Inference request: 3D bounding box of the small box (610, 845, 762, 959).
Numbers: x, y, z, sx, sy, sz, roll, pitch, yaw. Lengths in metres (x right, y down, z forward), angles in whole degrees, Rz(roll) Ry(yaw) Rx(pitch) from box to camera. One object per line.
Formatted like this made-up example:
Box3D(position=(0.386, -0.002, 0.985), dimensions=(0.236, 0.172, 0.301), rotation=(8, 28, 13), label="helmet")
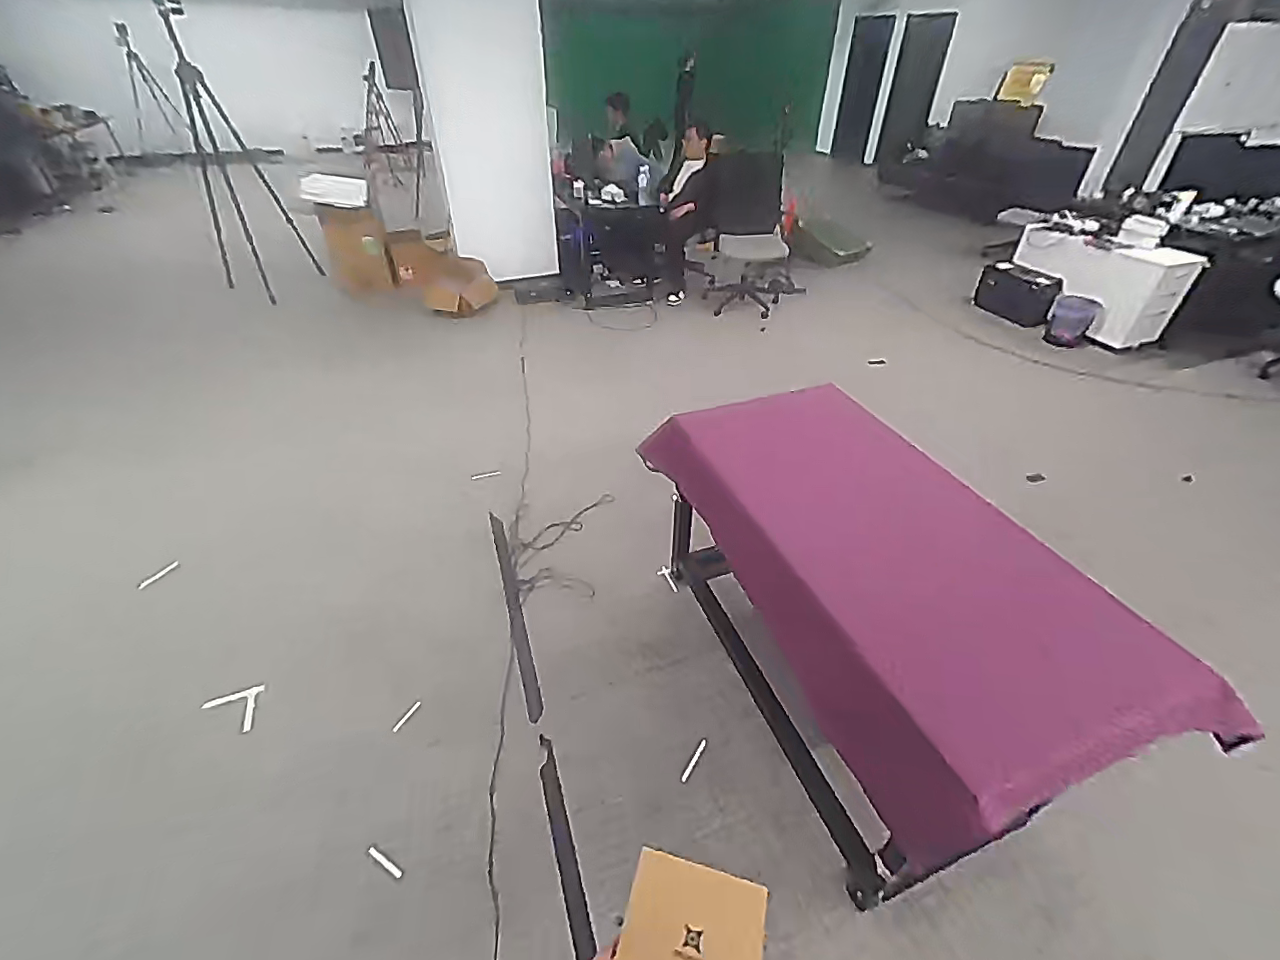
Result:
Box3D(position=(0.053, 0.615, 0.690), dimensions=(0.168, 0.176, 0.179), rotation=(10, 41, 13), label="small box")
